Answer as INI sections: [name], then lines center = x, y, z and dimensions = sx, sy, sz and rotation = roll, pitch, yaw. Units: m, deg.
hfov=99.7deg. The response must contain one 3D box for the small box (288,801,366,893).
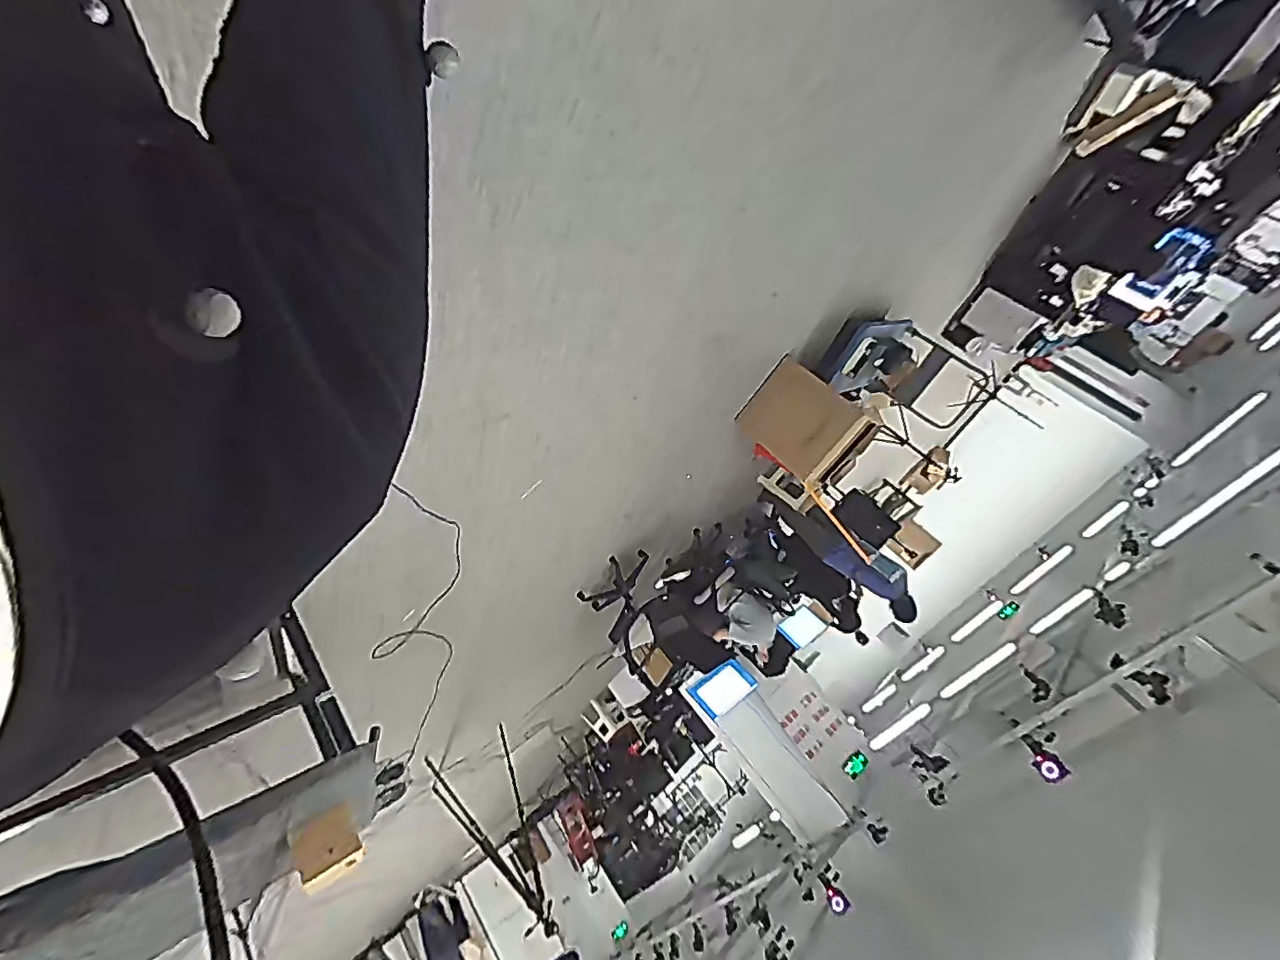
[small box]
center = -1.036, 1.212, 1.795
dimensions = 0.179, 0.176, 0.168
rotation = -20, 146, -39
